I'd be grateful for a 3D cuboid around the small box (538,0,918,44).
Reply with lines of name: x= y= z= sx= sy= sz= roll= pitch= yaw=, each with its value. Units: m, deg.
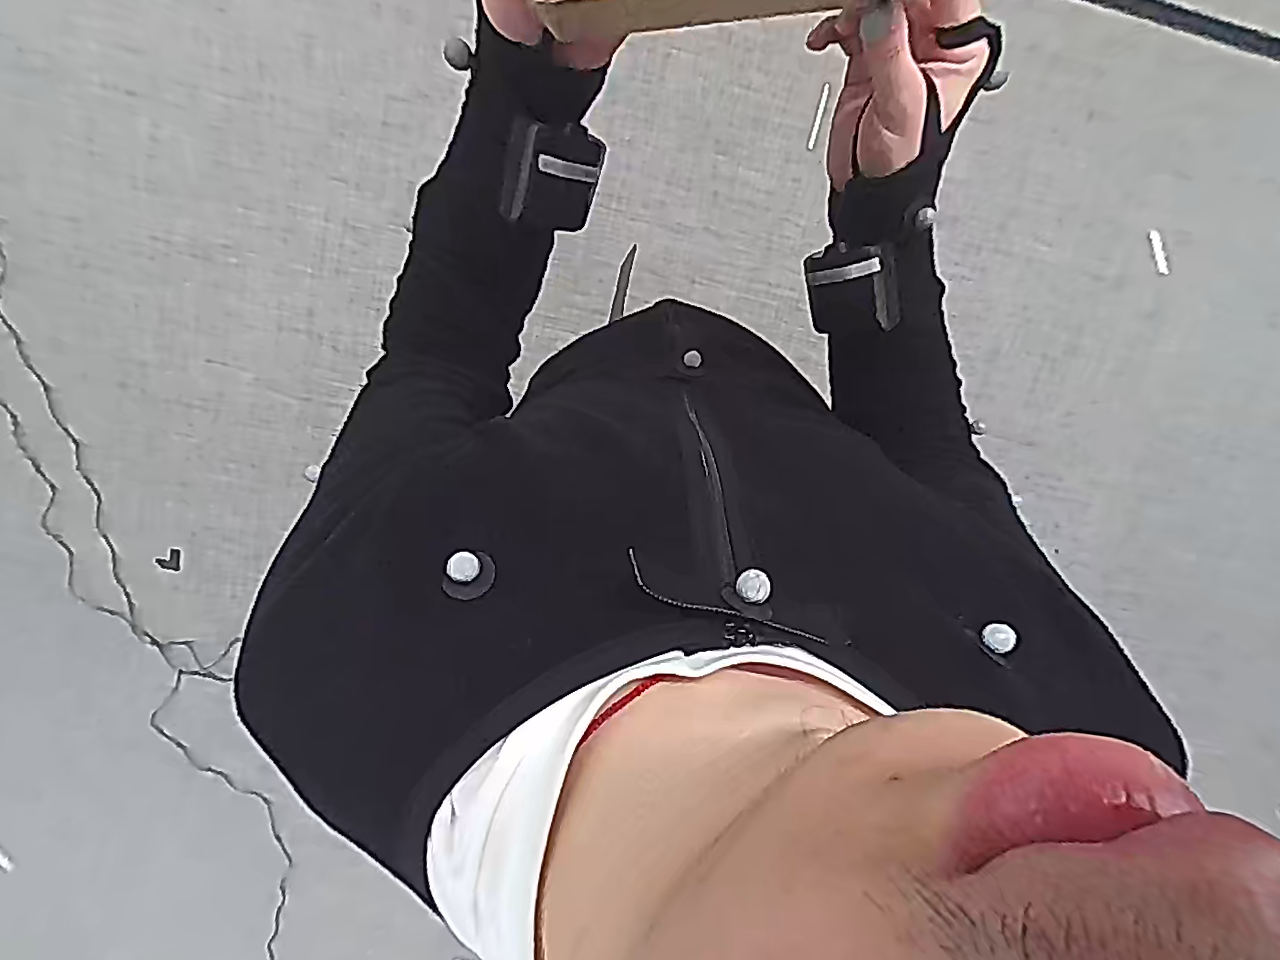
small box: x=0.044 y=-0.260 z=0.178 sx=0.179 sy=0.176 sz=0.168 roll=-6 pitch=126 yaw=1
